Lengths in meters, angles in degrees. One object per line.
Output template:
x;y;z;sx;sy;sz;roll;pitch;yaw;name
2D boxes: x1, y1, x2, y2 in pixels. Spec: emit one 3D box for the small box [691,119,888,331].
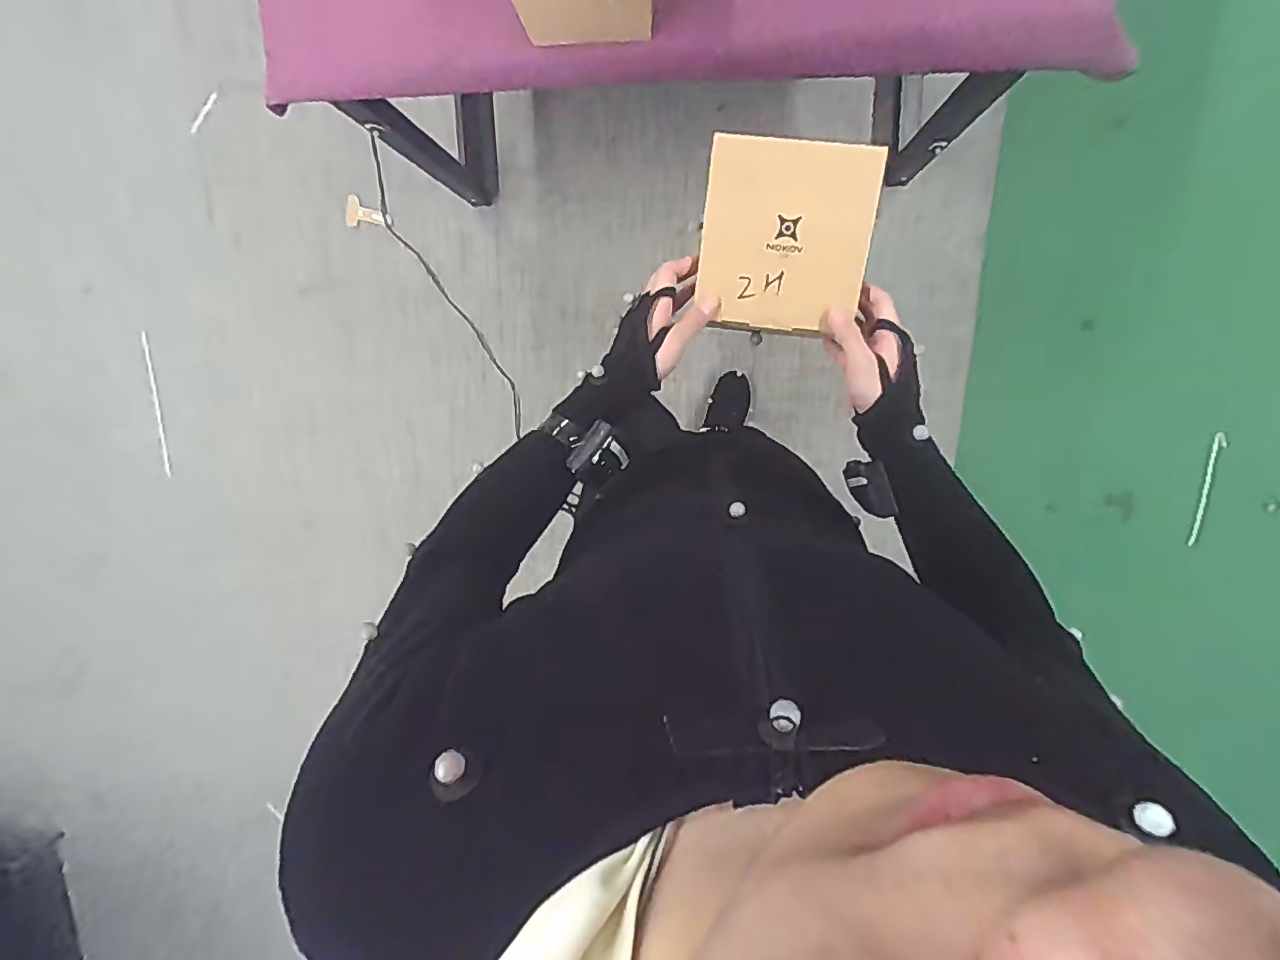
0.150;-0.268;0.607;0.168;0.176;0.179;8;105;4;small box
